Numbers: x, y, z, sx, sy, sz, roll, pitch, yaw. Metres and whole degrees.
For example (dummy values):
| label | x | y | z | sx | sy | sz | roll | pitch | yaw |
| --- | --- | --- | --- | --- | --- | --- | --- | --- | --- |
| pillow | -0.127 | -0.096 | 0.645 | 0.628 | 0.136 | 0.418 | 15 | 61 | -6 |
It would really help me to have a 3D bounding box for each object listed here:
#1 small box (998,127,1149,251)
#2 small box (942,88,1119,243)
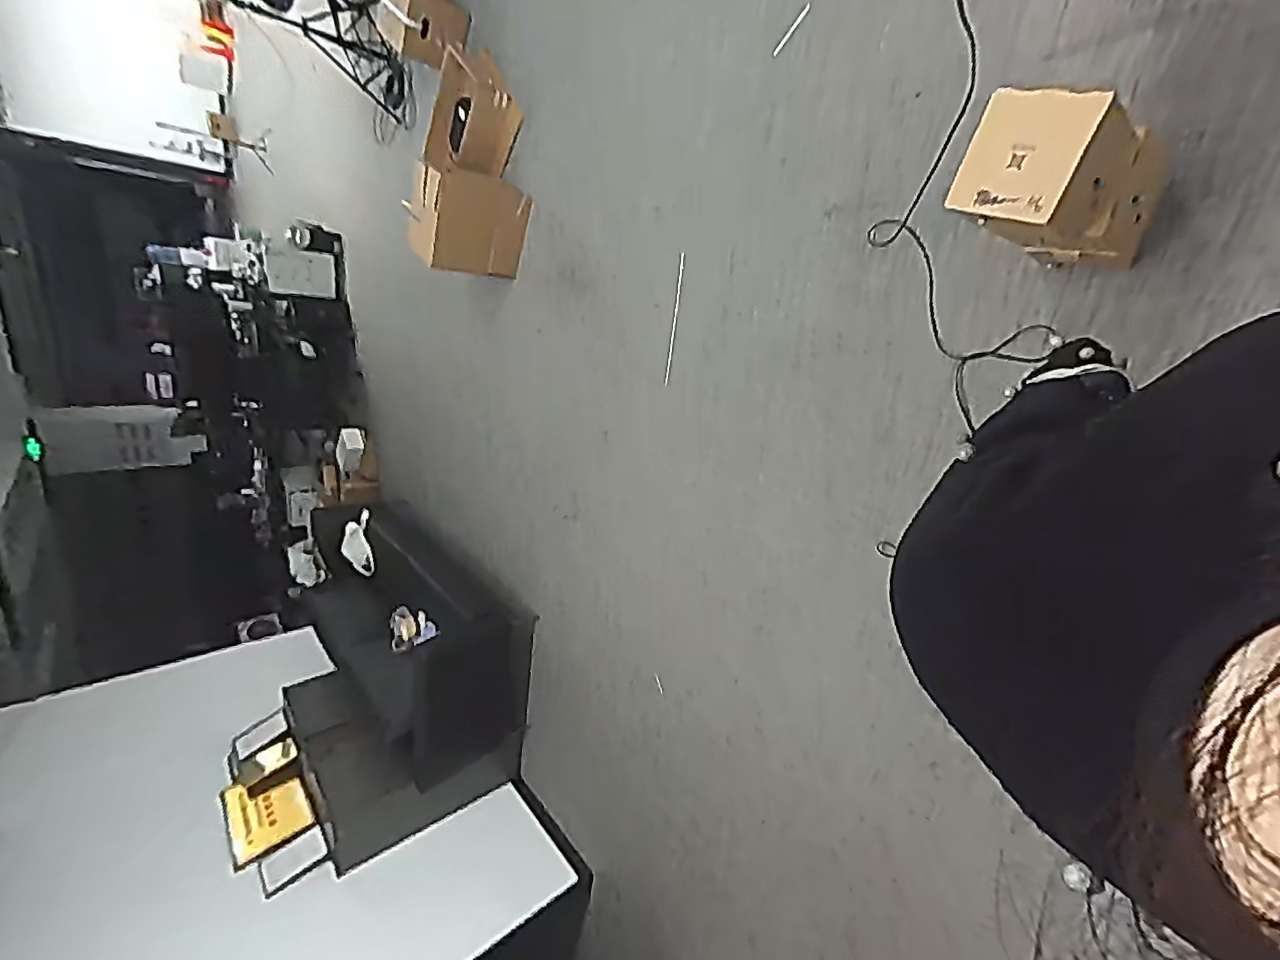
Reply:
| label | x | y | z | sx | sy | sz | roll | pitch | yaw |
| --- | --- | --- | --- | --- | --- | --- | --- | --- | --- |
| small box | 0.782 | -0.525 | 0.991 | 0.179 | 0.176 | 0.168 | 29 | 118 | 41 |
| small box | 0.647 | -0.514 | 0.896 | 0.168 | 0.176 | 0.179 | 38 | 123 | 38 |
